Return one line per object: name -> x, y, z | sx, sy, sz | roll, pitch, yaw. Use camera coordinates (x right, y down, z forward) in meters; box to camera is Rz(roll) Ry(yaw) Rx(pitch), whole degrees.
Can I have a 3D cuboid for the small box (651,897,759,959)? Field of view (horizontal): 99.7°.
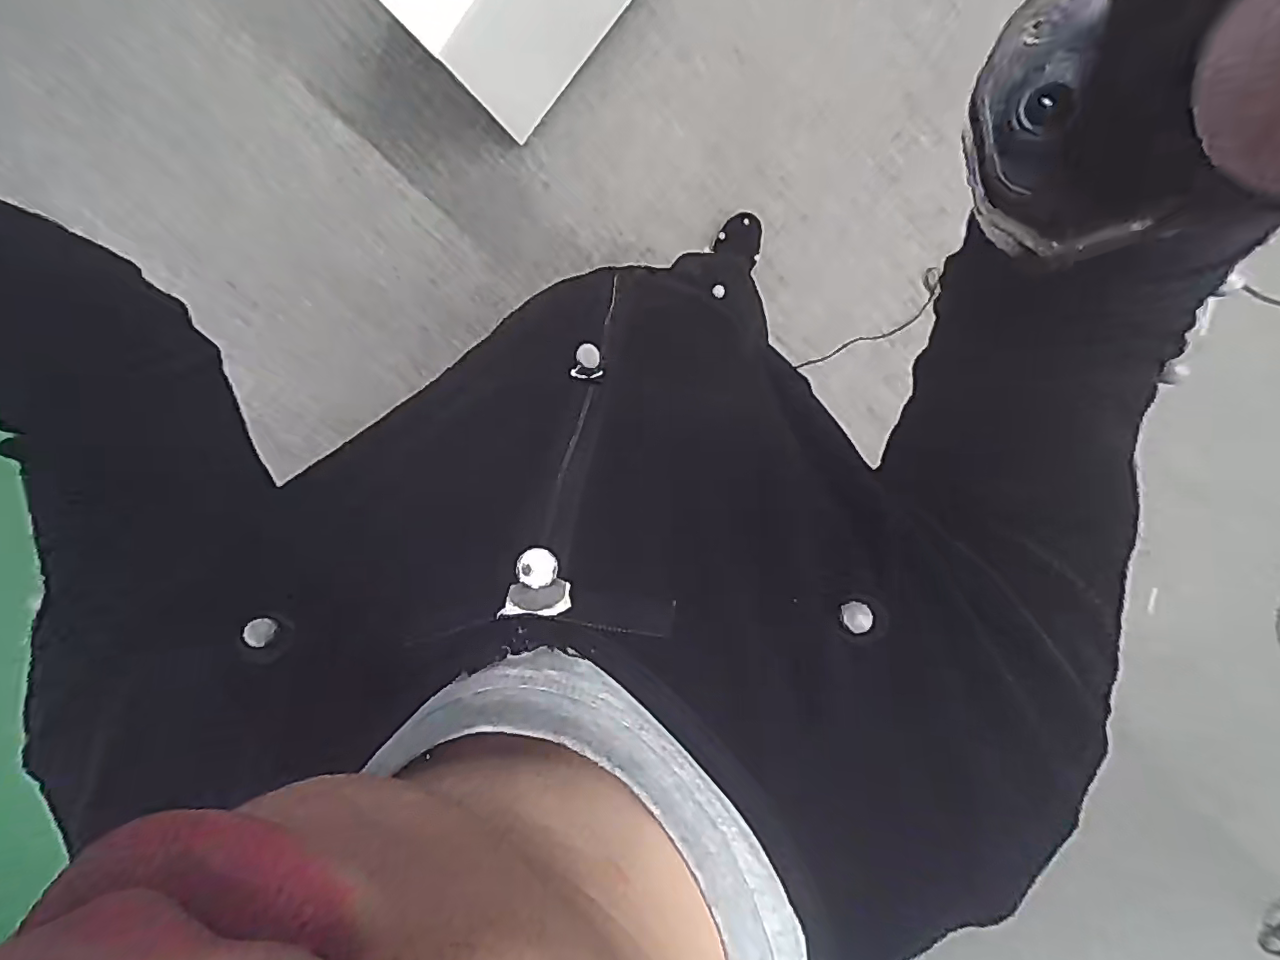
small box -> 0.134, 1.009, 1.116 | 0.179, 0.176, 0.168 | 43, 106, -12
